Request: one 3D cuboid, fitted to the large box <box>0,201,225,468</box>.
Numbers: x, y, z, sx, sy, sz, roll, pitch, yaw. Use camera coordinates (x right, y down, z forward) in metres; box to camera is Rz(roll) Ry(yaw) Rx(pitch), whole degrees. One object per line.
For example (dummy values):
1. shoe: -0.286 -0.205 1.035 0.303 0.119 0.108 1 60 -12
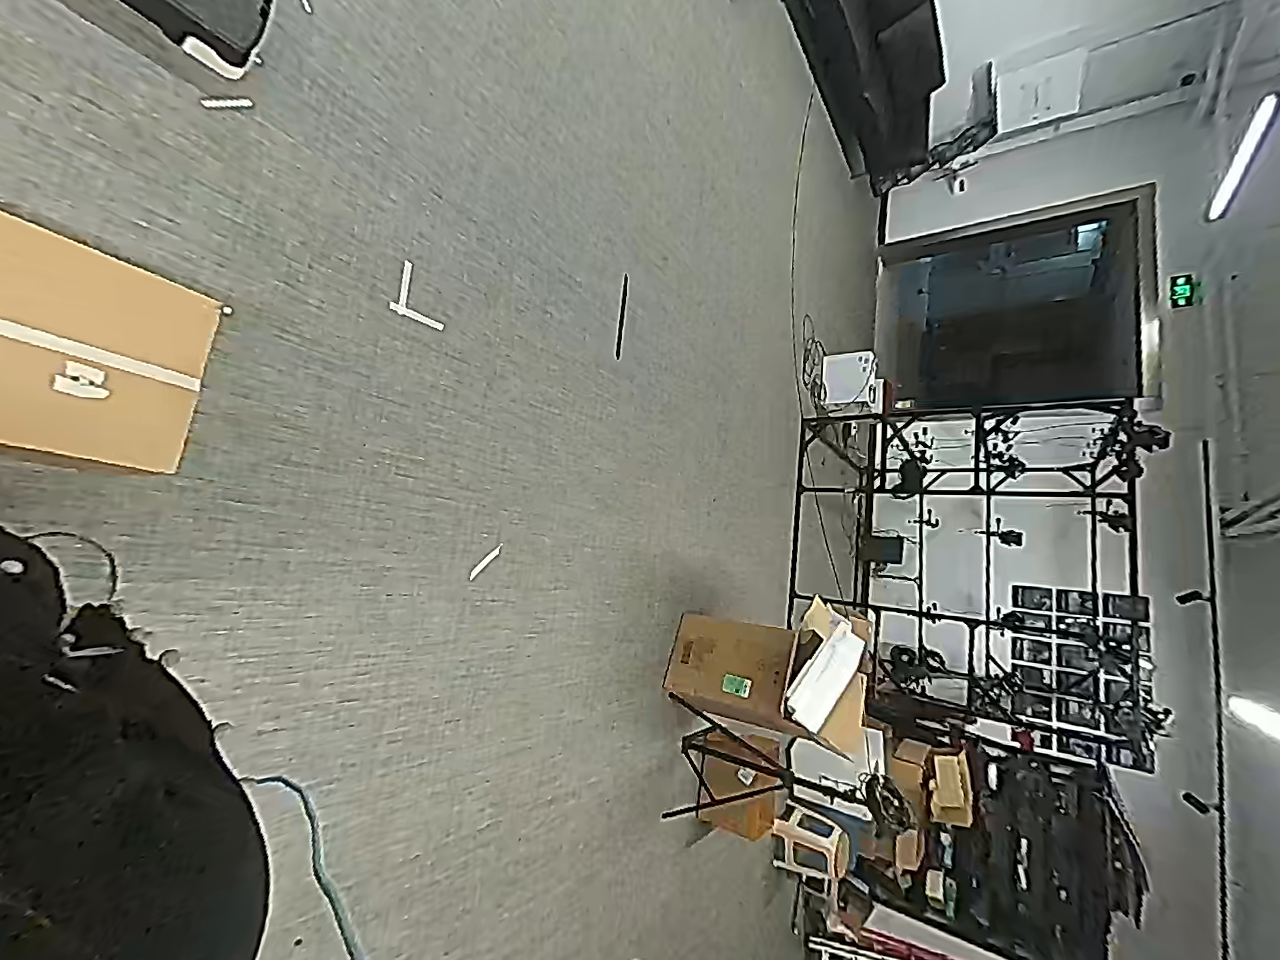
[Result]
1. large box: -0.966 -0.211 0.827 0.408 0.320 0.320 22 73 -55
